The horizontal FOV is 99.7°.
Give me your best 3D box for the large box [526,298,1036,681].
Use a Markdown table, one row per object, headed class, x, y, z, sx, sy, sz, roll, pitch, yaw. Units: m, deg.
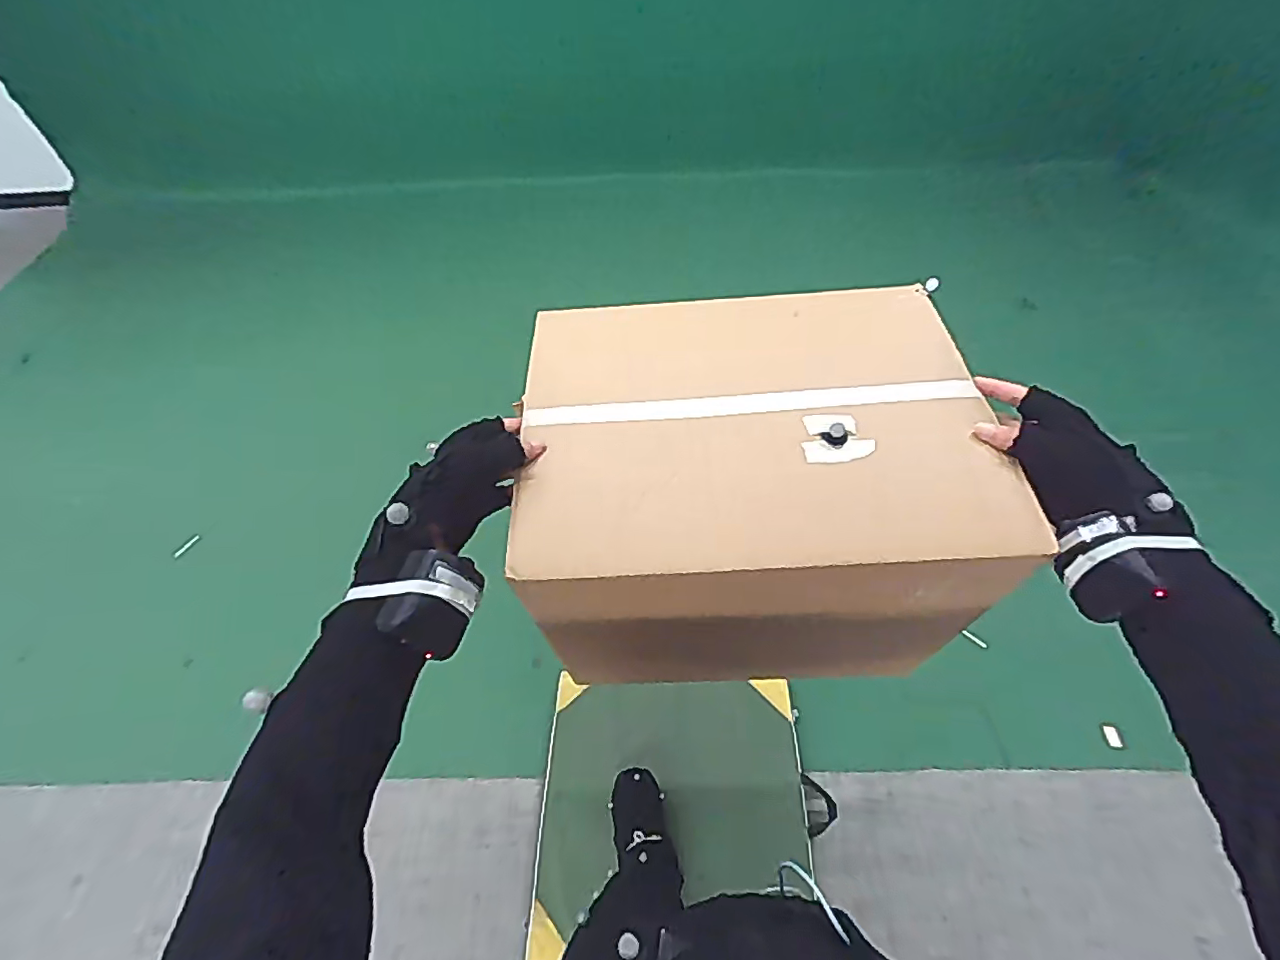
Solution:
| class | x | y | z | sx | sy | sz | roll | pitch | yaw |
| --- | --- | --- | --- | --- | --- | --- | --- | --- | --- |
| large box | 0.108 | 0.025 | 0.622 | 0.408 | 0.320 | 0.320 | -3 | 56 | 2 |
